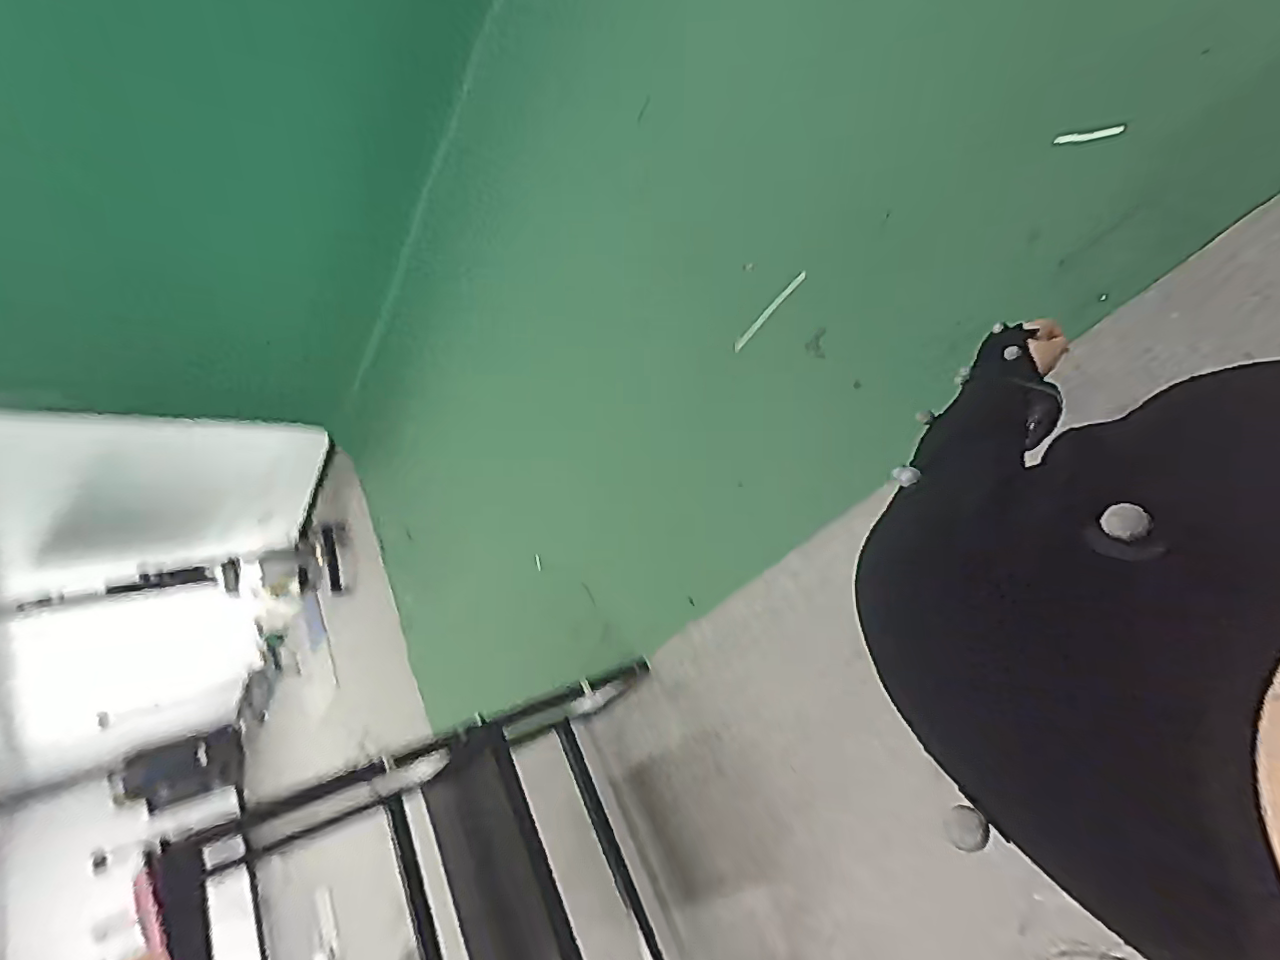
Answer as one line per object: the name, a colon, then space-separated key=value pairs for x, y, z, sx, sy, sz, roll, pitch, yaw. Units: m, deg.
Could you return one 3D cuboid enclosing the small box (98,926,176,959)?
small box: x=-0.995 y=1.001 z=1.036 sx=0.168 sy=0.176 sz=0.179 roll=-43 pitch=66 yaw=41
